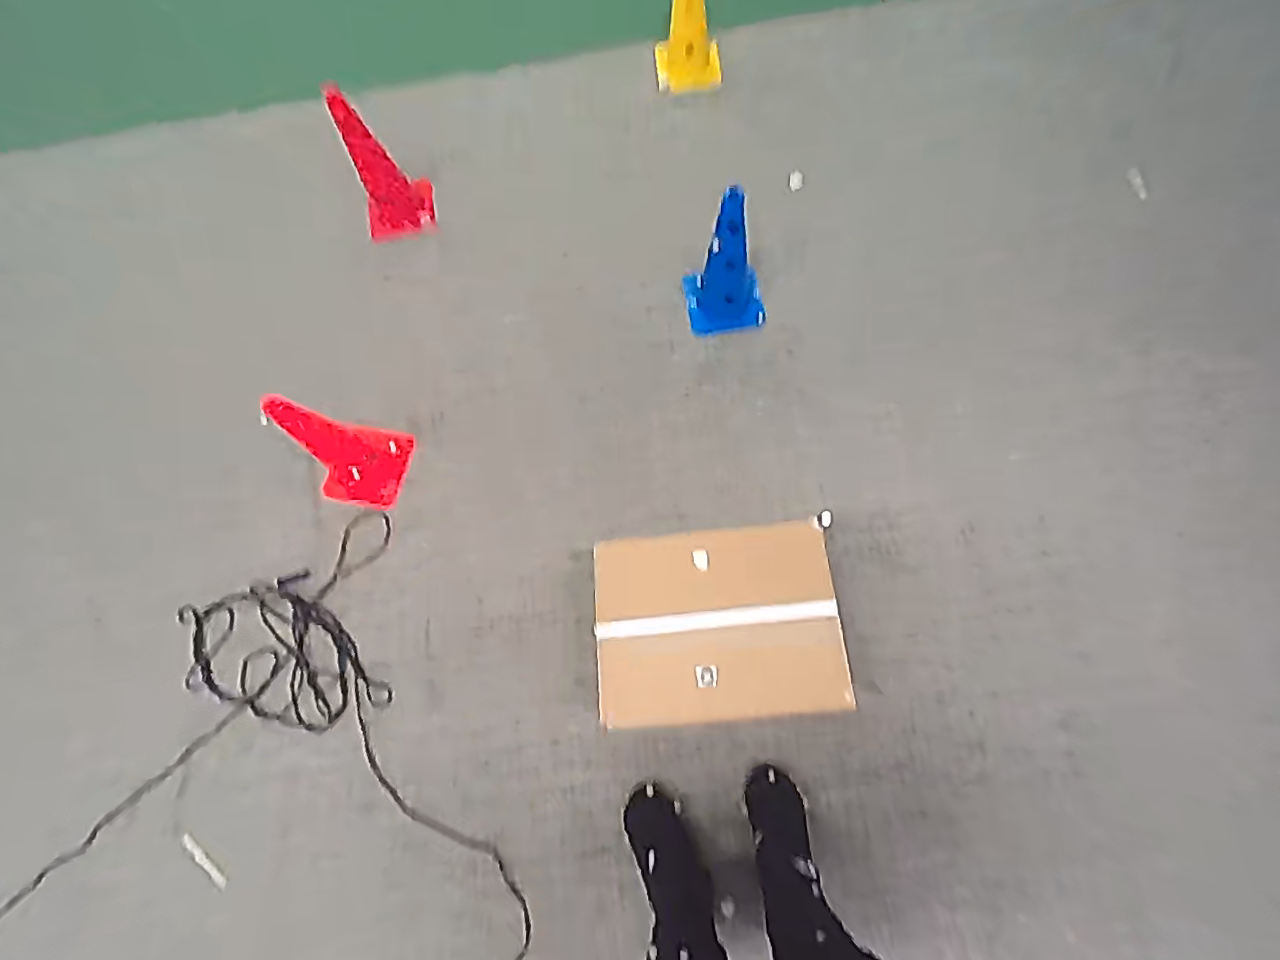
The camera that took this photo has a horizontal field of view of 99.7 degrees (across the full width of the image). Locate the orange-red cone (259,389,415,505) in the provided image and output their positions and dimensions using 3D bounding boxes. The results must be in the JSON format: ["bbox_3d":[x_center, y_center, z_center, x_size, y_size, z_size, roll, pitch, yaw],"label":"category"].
[{"bbox_3d":[-0.706,-0.099,1.214,0.199,0.360,0.198,10,71,10],"label":"orange-red cone"}]

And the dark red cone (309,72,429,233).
[{"bbox_3d":[-0.749,-0.893,1.472,0.202,0.394,0.201,-15,67,0],"label":"dark red cone"}]

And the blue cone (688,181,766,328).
[{"bbox_3d":[0.216,-0.548,1.296,0.192,0.380,0.193,-8,71,2],"label":"blue cone"}]
